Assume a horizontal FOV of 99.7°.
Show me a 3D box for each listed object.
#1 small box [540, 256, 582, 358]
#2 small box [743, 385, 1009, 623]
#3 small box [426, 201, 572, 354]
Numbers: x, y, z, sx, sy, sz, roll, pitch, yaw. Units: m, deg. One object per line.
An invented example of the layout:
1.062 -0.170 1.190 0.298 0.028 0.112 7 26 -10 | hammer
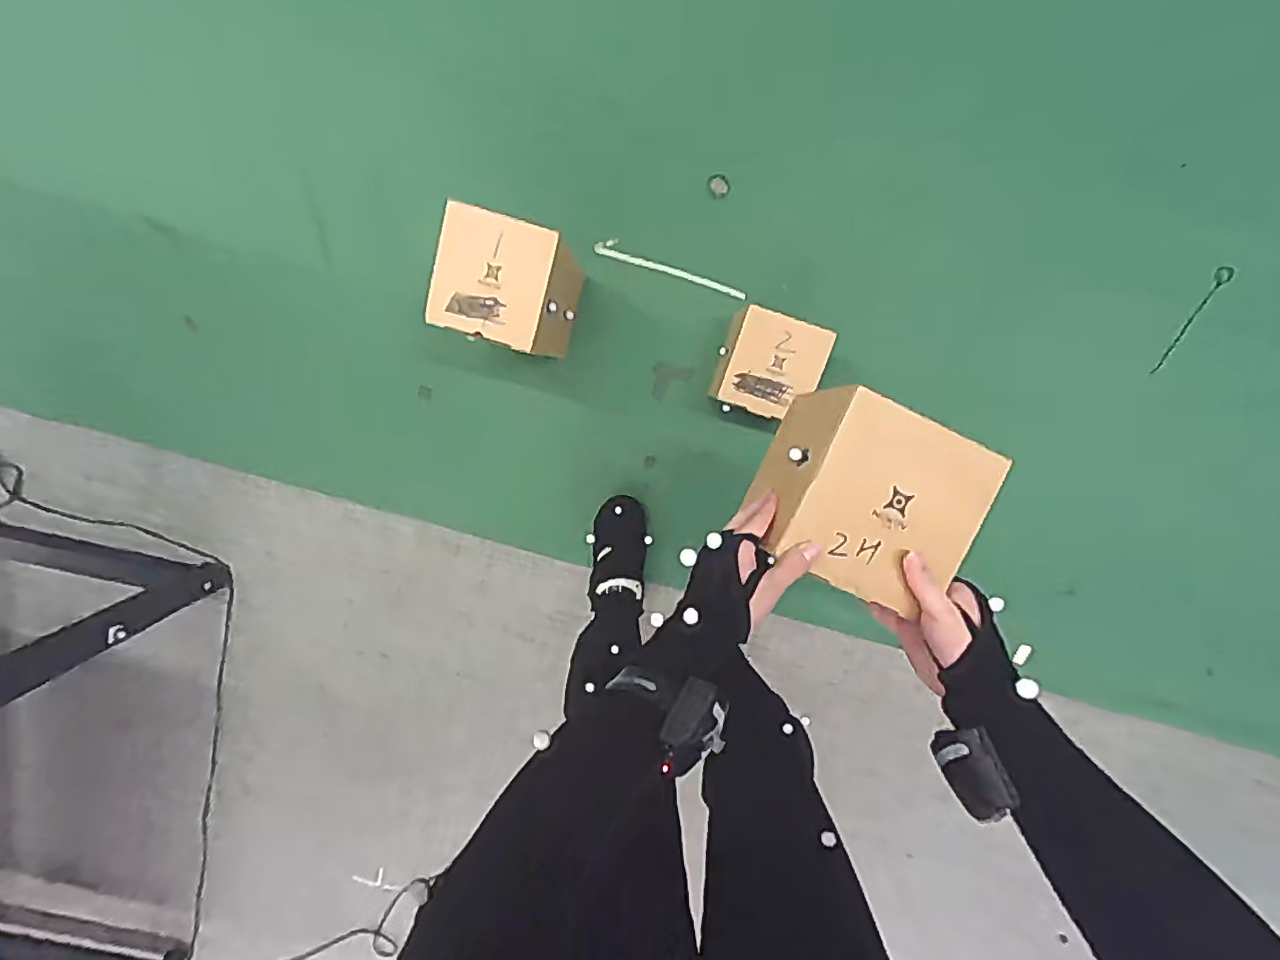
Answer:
-0.211 -0.338 1.018 0.168 0.176 0.179 16 102 -3 | small box
0.228 0.016 0.574 0.168 0.176 0.179 25 95 -5 | small box
-0.213 -0.305 0.858 0.168 0.176 0.179 16 101 -3 | small box
